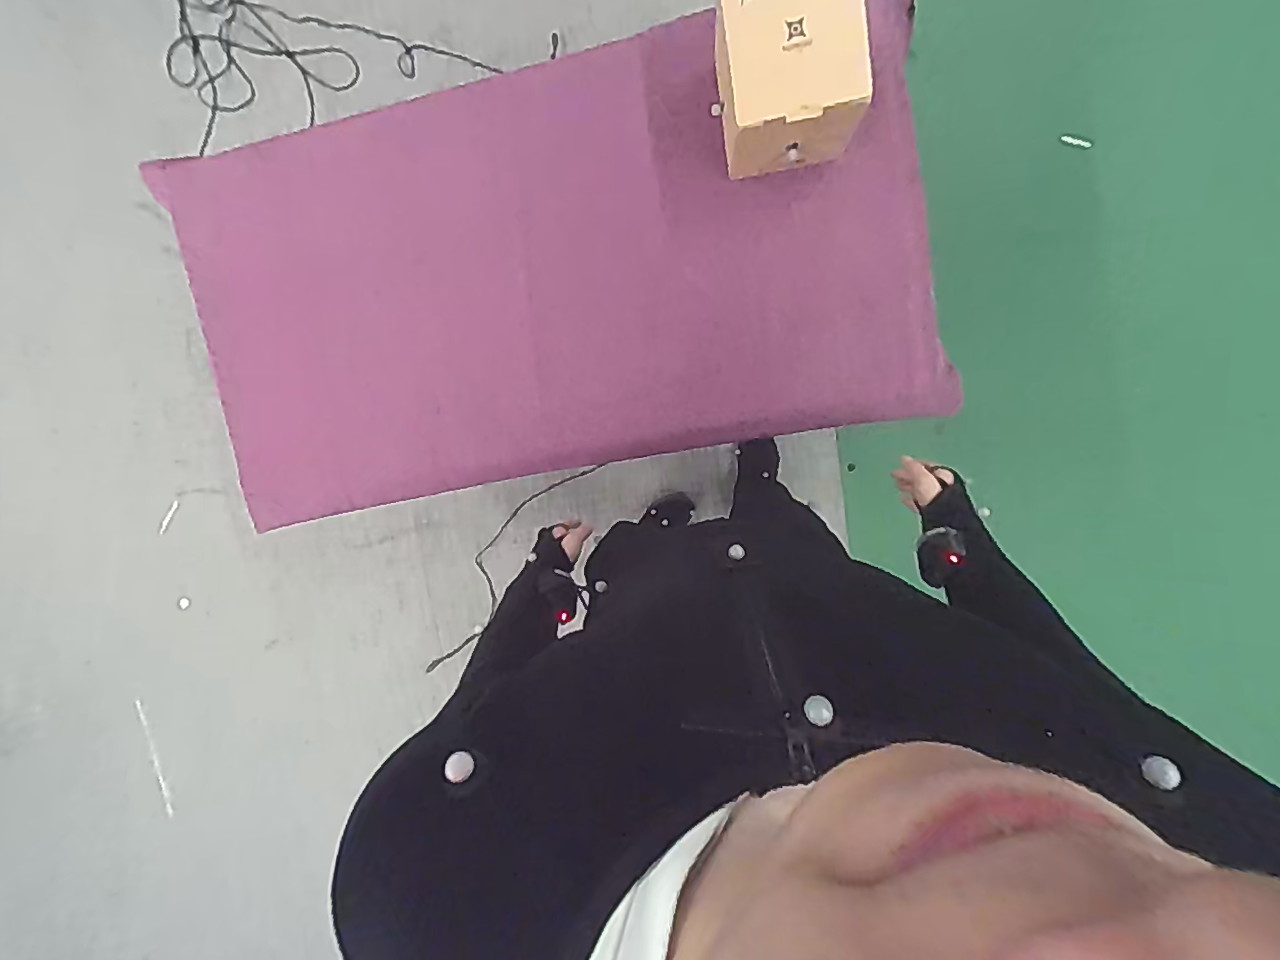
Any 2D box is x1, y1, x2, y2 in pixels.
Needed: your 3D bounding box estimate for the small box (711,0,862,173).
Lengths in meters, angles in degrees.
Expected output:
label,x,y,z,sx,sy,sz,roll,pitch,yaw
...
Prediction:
label,x,y,z,sx,sy,sz,roll,pitch,yaw
small box,0.189,-0.544,0.735,0.168,0.176,0.179,-8,98,7
